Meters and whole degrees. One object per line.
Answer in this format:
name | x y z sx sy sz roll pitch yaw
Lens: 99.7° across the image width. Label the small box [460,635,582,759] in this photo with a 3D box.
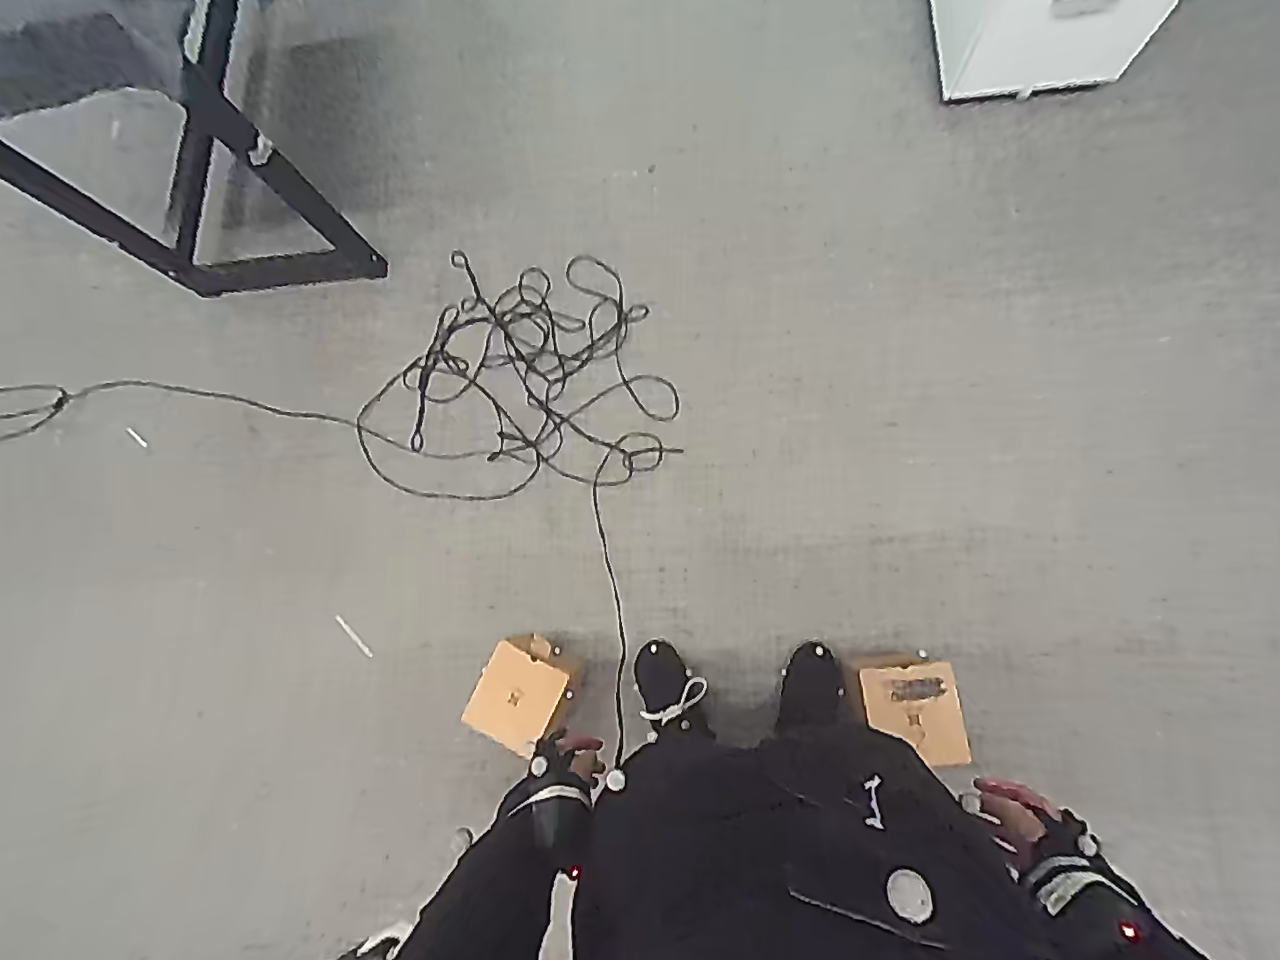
small box | -0.239 0.446 1.142 0.168 0.176 0.179 23 81 11
